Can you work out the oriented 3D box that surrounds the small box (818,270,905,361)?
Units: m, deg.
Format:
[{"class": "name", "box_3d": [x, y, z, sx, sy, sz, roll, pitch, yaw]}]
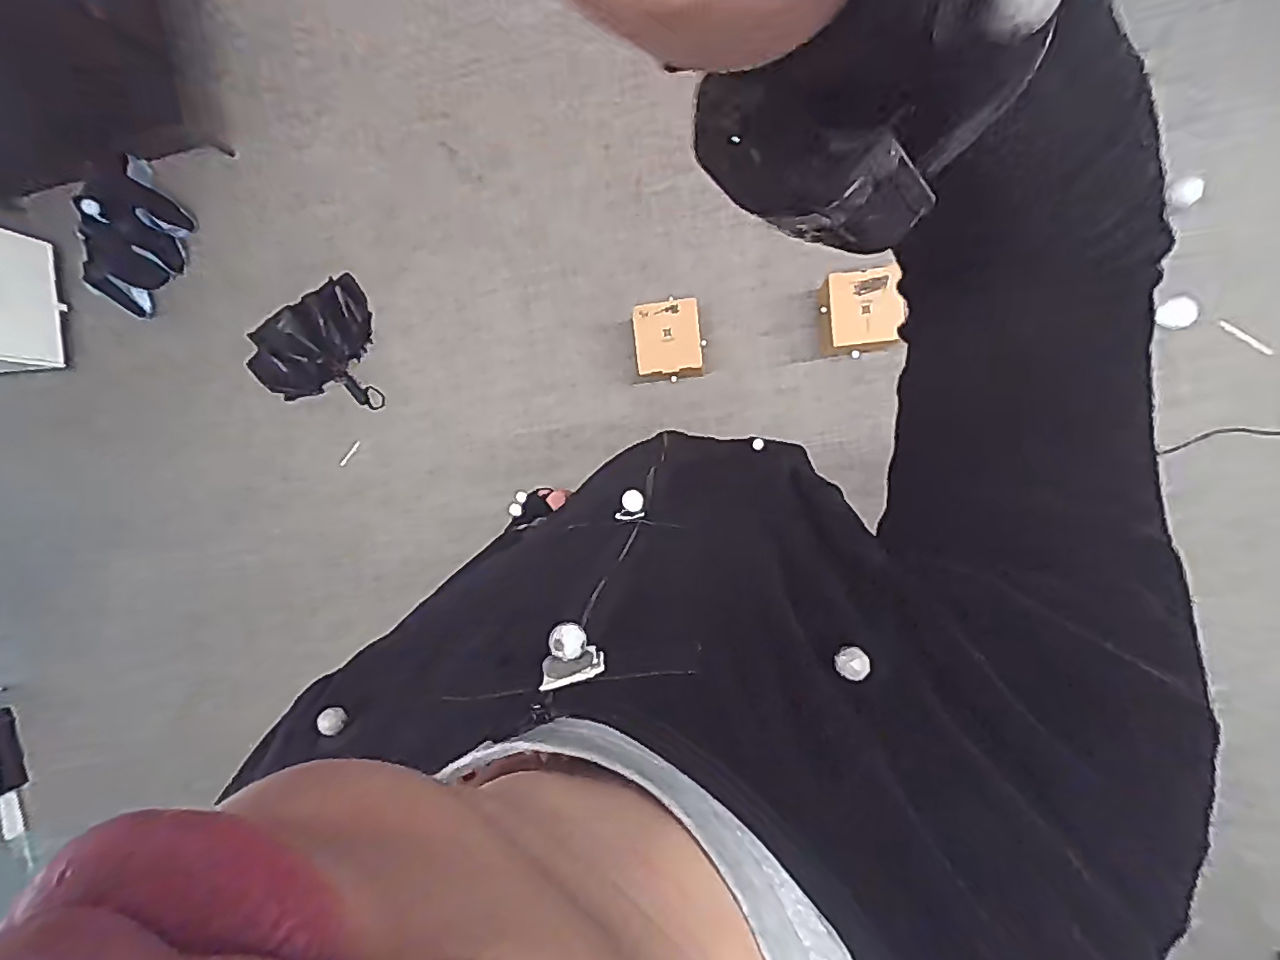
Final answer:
[{"class": "small box", "box_3d": [0.554, -0.409, 1.370, 0.168, 0.176, 0.179, -5, 94, 10]}]

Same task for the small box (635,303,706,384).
[{"class": "small box", "box_3d": [0.087, -0.356, 1.447, 0.168, 0.176, 0.179, -5, 92, 9]}]
